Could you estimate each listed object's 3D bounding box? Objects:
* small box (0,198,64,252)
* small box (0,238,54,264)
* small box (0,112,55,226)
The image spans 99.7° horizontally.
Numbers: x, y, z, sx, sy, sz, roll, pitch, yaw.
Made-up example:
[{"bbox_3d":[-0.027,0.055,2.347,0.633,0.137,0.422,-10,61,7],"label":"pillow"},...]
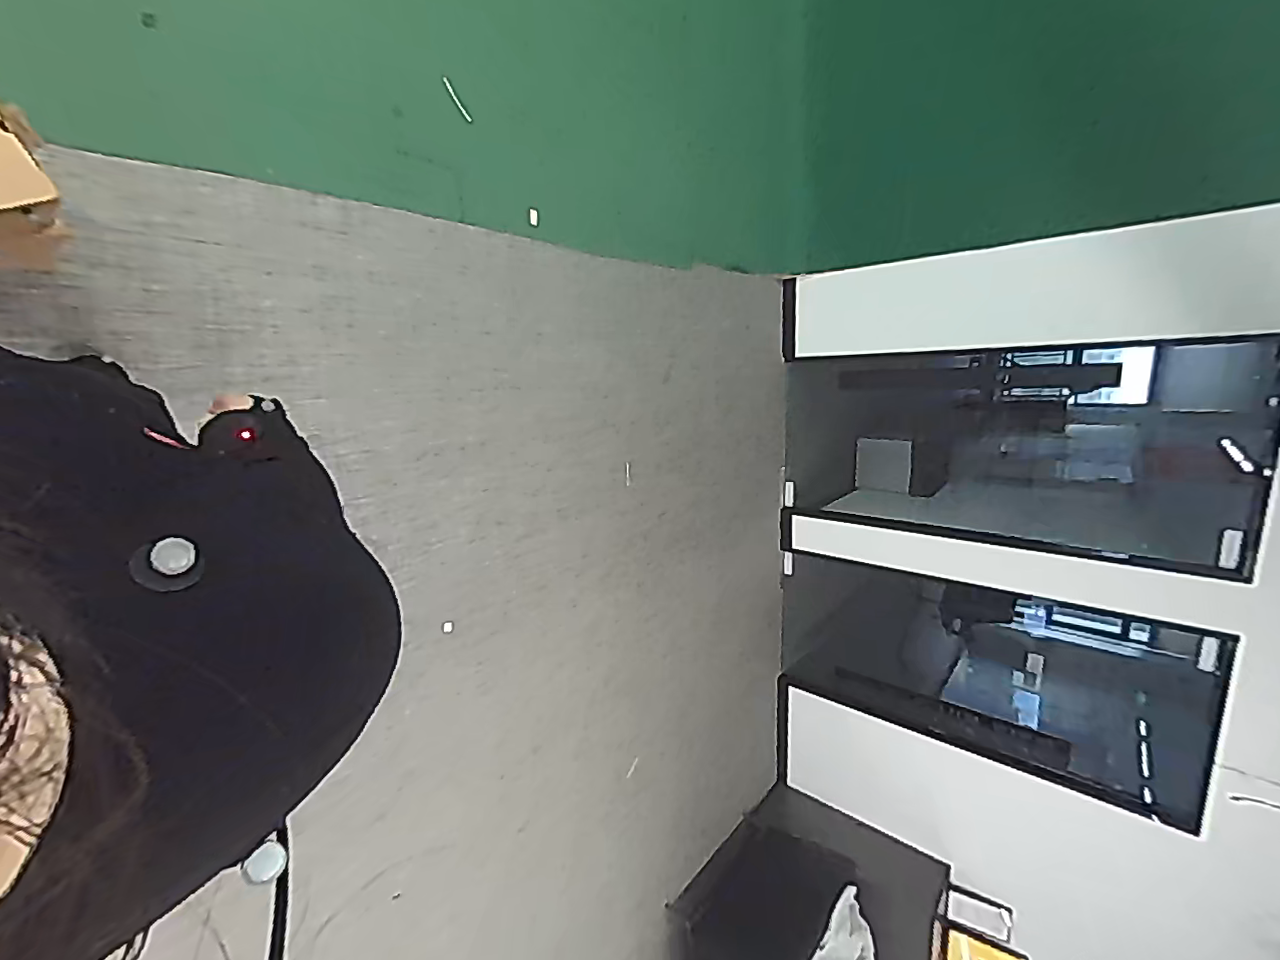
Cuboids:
[{"bbox_3d":[-0.989,-0.416,0.769,0.179,0.176,0.168,-39,127,-39],"label":"small box"},{"bbox_3d":[-1.107,-0.447,0.877,0.179,0.176,0.168,-24,115,-46],"label":"small box"},{"bbox_3d":[-0.876,-0.398,0.652,0.179,0.176,0.168,-44,129,-36],"label":"small box"}]
